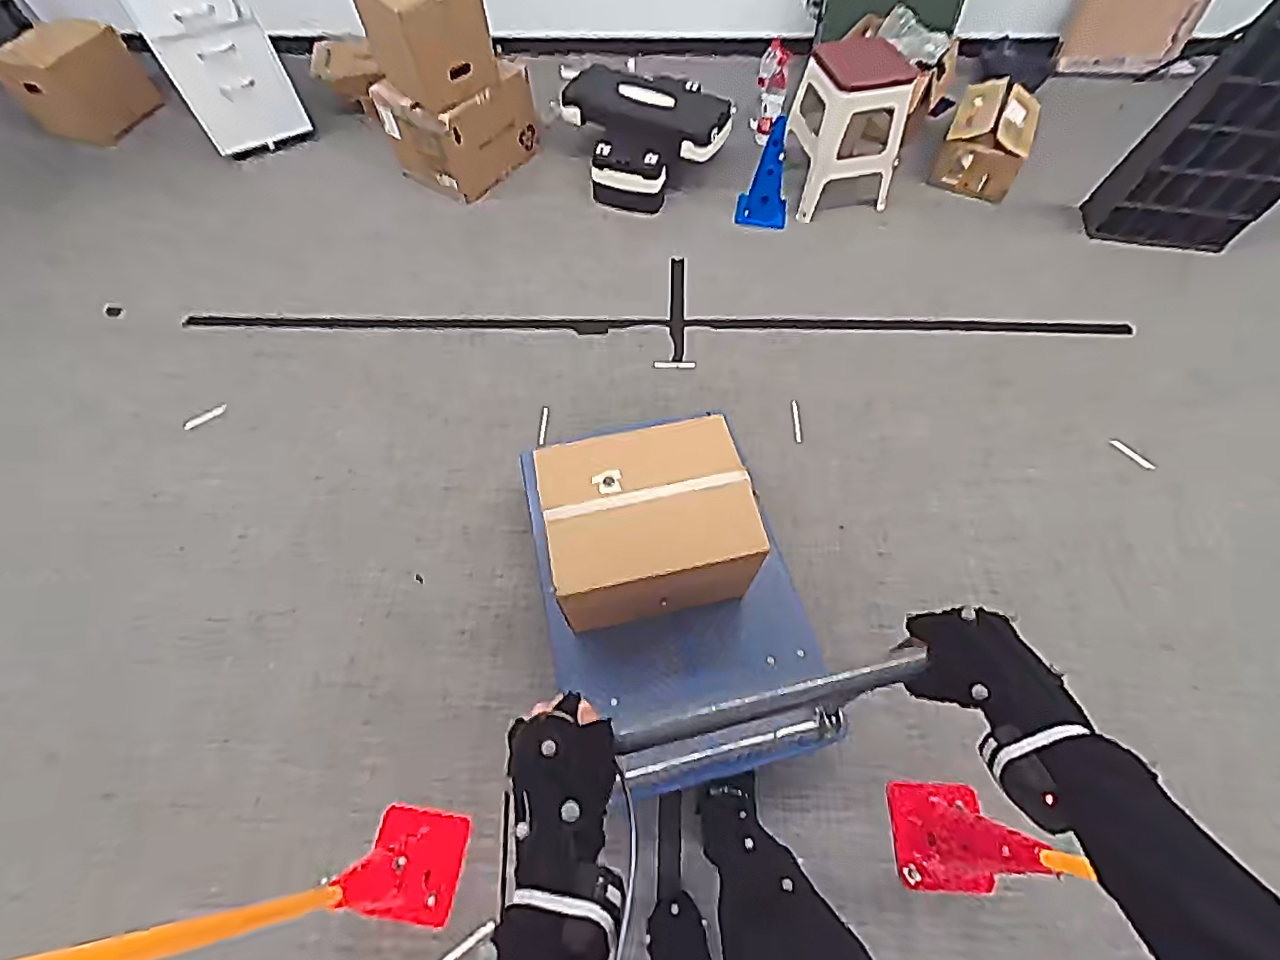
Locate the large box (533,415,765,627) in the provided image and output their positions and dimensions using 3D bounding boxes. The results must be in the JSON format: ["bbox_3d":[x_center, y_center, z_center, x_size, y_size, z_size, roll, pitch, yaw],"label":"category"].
[{"bbox_3d":[0.012,0.102,1.185,0.408,0.320,0.320,-12,63,-5],"label":"large box"}]

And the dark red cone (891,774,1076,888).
[{"bbox_3d":[0.657,0.671,1.015,0.201,0.394,0.202,2,62,-1],"label":"dark red cone"}]

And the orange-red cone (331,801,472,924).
[{"bbox_3d":[-0.476,0.730,1.010,0.198,0.360,0.199,9,60,4],"label":"orange-red cone"}]
